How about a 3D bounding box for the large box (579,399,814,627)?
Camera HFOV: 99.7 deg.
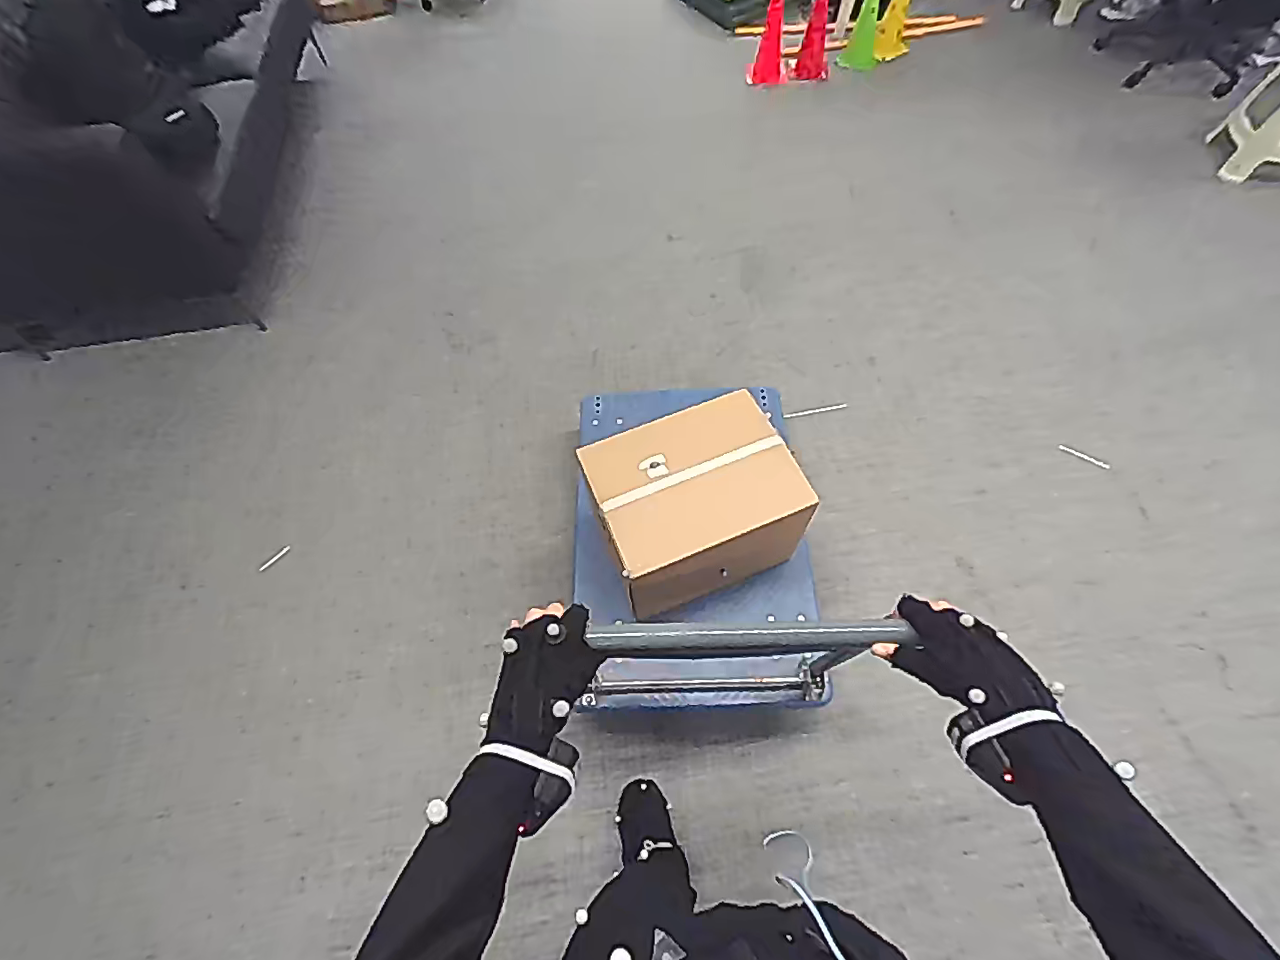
[{"bbox_3d":[0.119,0.084,1.238,0.408,0.320,0.320,-22,60,-8],"label":"large box"}]
